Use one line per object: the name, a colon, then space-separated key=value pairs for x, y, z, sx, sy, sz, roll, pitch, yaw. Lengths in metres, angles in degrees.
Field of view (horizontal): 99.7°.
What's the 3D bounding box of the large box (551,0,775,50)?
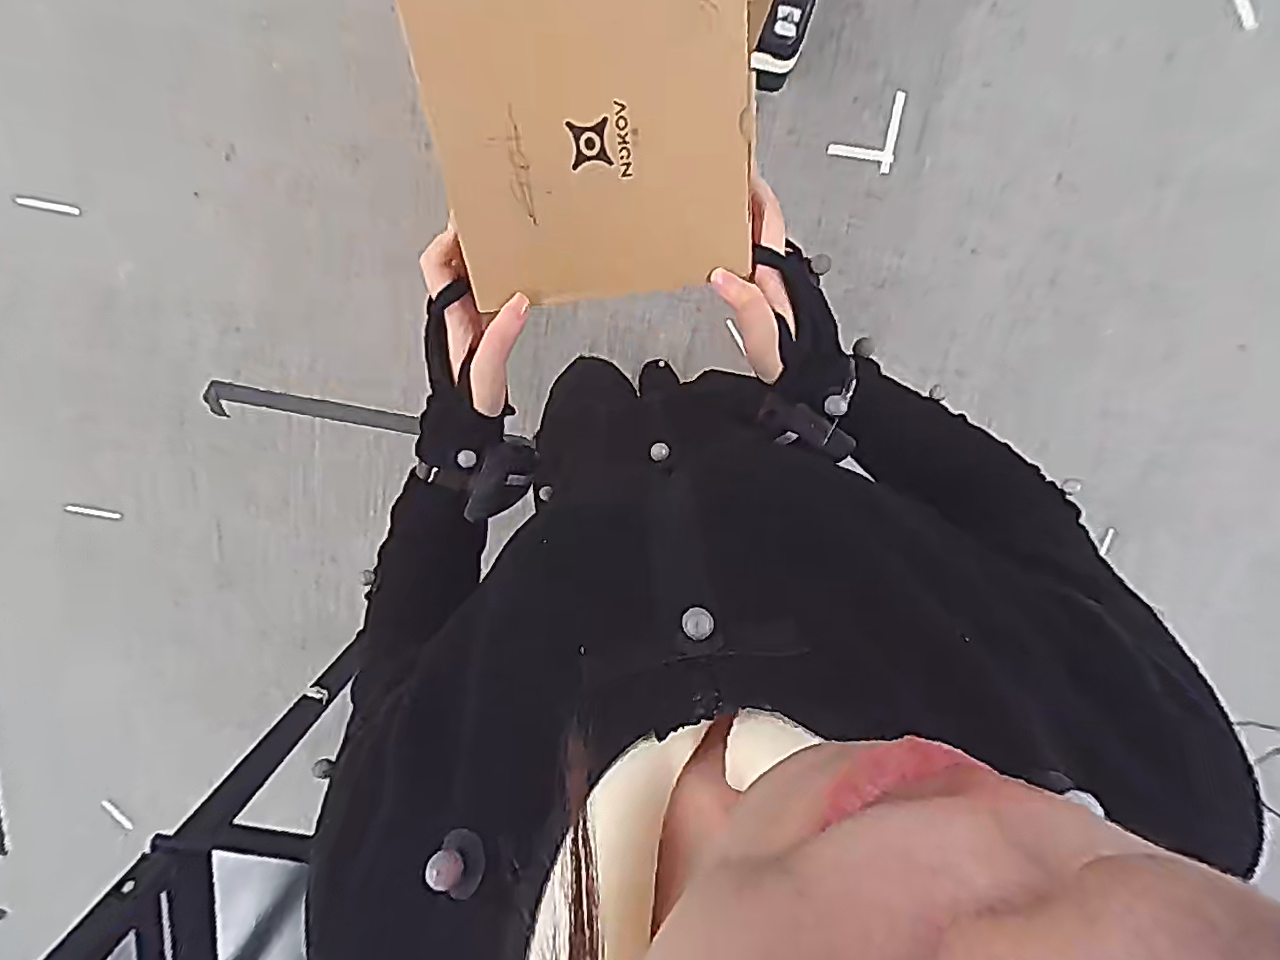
large box: x=0.049 y=-0.982 z=0.898 sx=0.408 sy=0.320 sz=0.320 roll=7 pitch=104 yaw=0
